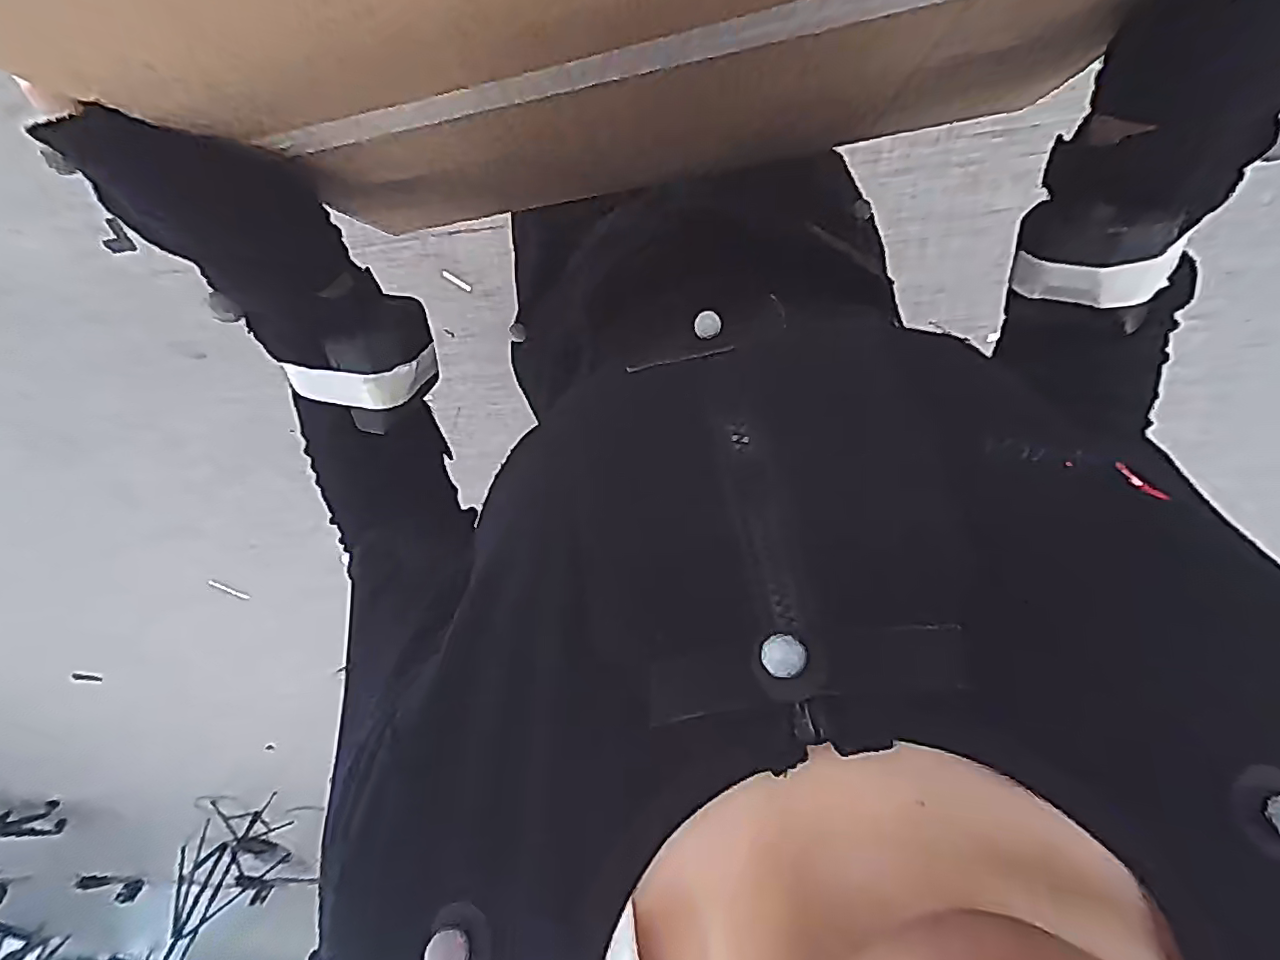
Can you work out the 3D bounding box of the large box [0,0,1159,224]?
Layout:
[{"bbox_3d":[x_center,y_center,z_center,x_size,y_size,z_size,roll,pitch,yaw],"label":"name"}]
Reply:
[{"bbox_3d":[-0.003,-0.315,0.170,0.408,0.320,0.320,-9,103,5],"label":"large box"}]
